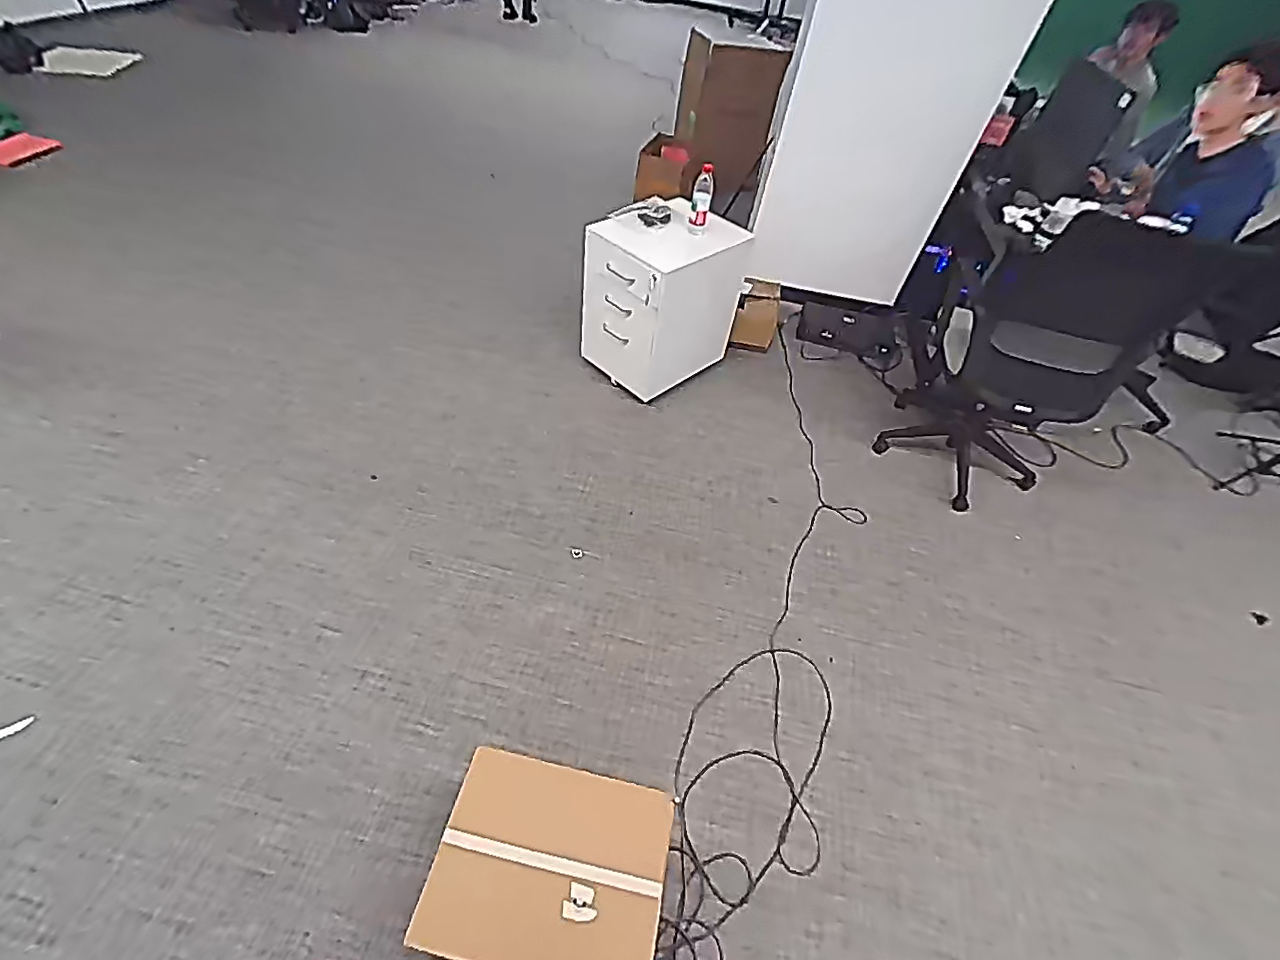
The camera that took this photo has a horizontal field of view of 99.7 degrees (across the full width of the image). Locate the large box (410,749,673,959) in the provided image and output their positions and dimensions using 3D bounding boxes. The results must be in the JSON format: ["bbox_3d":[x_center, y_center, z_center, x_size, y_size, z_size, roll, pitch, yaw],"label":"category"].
[{"bbox_3d":[-0.173,0.786,1.078,0.408,0.320,0.320,13,48,3],"label":"large box"}]
